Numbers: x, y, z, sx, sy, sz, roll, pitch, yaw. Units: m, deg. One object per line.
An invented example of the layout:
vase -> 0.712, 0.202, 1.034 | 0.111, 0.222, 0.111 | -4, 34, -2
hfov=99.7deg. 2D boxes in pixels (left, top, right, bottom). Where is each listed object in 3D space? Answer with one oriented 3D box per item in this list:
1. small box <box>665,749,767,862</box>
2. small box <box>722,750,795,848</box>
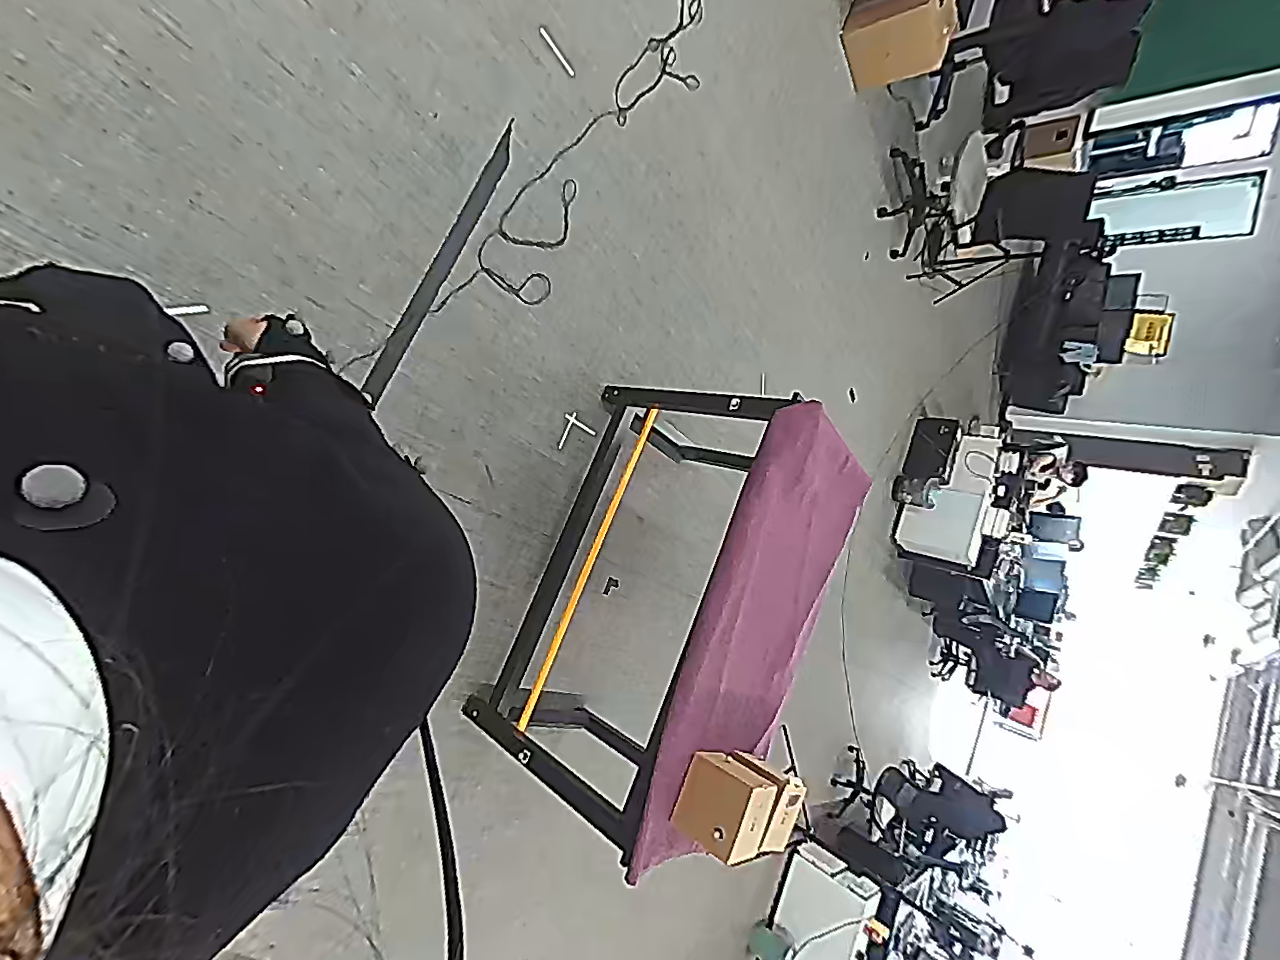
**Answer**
small box -> 0.185, 0.797, 1.337 | 0.168, 0.176, 0.179 | 38, 71, -49
small box -> 0.297, 0.873, 1.485 | 0.168, 0.176, 0.179 | 42, 70, -44
